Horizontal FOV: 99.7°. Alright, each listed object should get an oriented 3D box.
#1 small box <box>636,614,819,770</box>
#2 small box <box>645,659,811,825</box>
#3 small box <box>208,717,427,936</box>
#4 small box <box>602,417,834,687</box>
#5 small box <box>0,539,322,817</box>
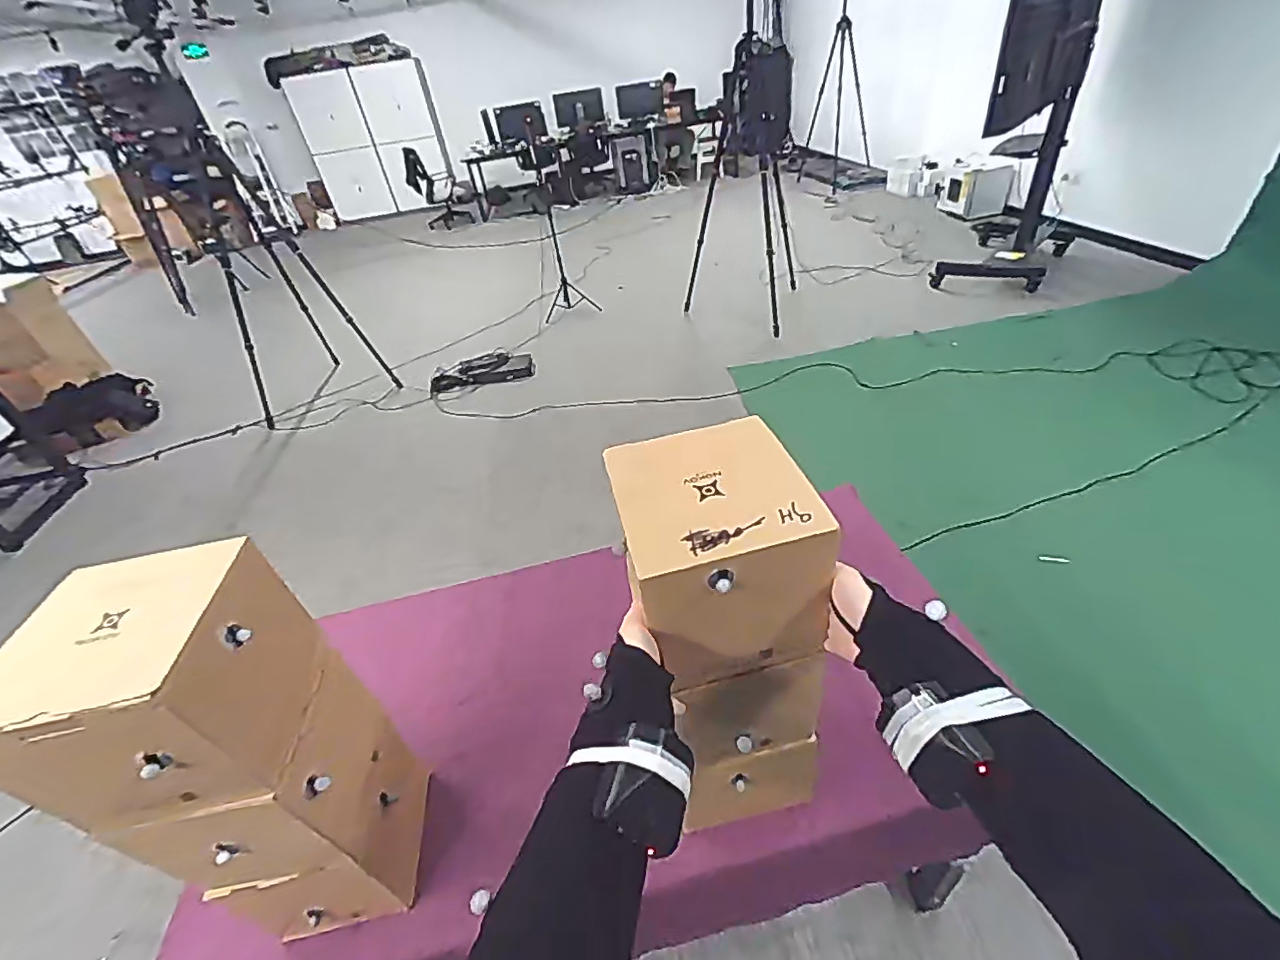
[{"bbox_3d":[0.090,0.201,0.636,0.168,0.176,0.179,-14,38,-5],"label":"small box"},{"bbox_3d":[0.115,0.334,0.729,0.179,0.176,0.168,-12,38,-3],"label":"small box"},{"bbox_3d":[-0.394,0.446,0.703,0.168,0.176,0.179,-12,38,-3],"label":"small box"},{"bbox_3d":[0.067,0.066,0.528,0.168,0.176,0.179,-14,39,-4],"label":"small box"},{"bbox_3d":[-0.436,0.187,0.506,0.168,0.176,0.179,-11,37,-3],"label":"small box"}]
